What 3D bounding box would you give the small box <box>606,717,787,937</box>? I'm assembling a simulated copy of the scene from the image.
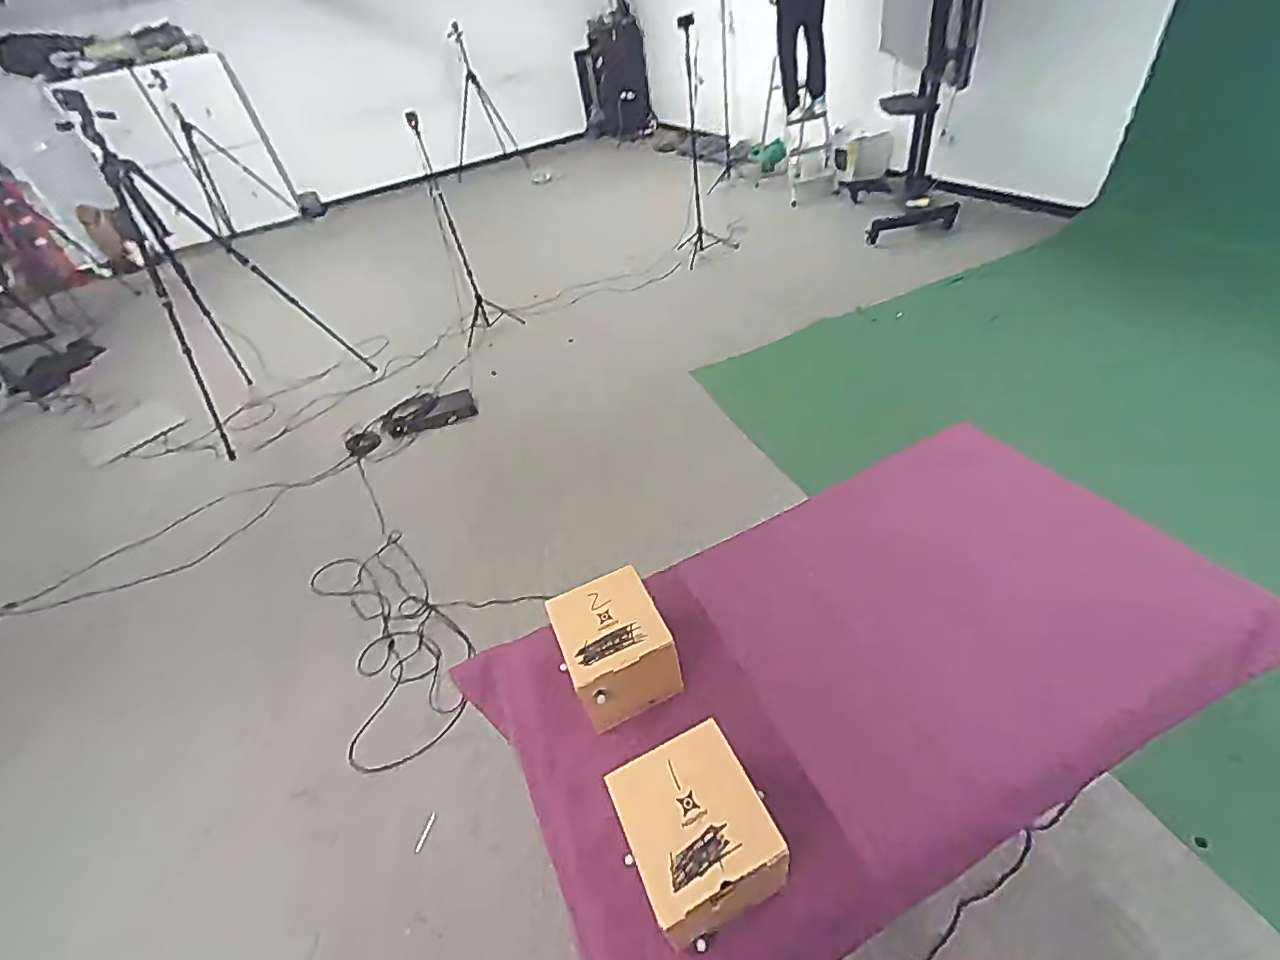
[{"bbox_3d":[0.075,0.457,0.710,0.168,0.176,0.179,-22,42,-13],"label":"small box"}]
